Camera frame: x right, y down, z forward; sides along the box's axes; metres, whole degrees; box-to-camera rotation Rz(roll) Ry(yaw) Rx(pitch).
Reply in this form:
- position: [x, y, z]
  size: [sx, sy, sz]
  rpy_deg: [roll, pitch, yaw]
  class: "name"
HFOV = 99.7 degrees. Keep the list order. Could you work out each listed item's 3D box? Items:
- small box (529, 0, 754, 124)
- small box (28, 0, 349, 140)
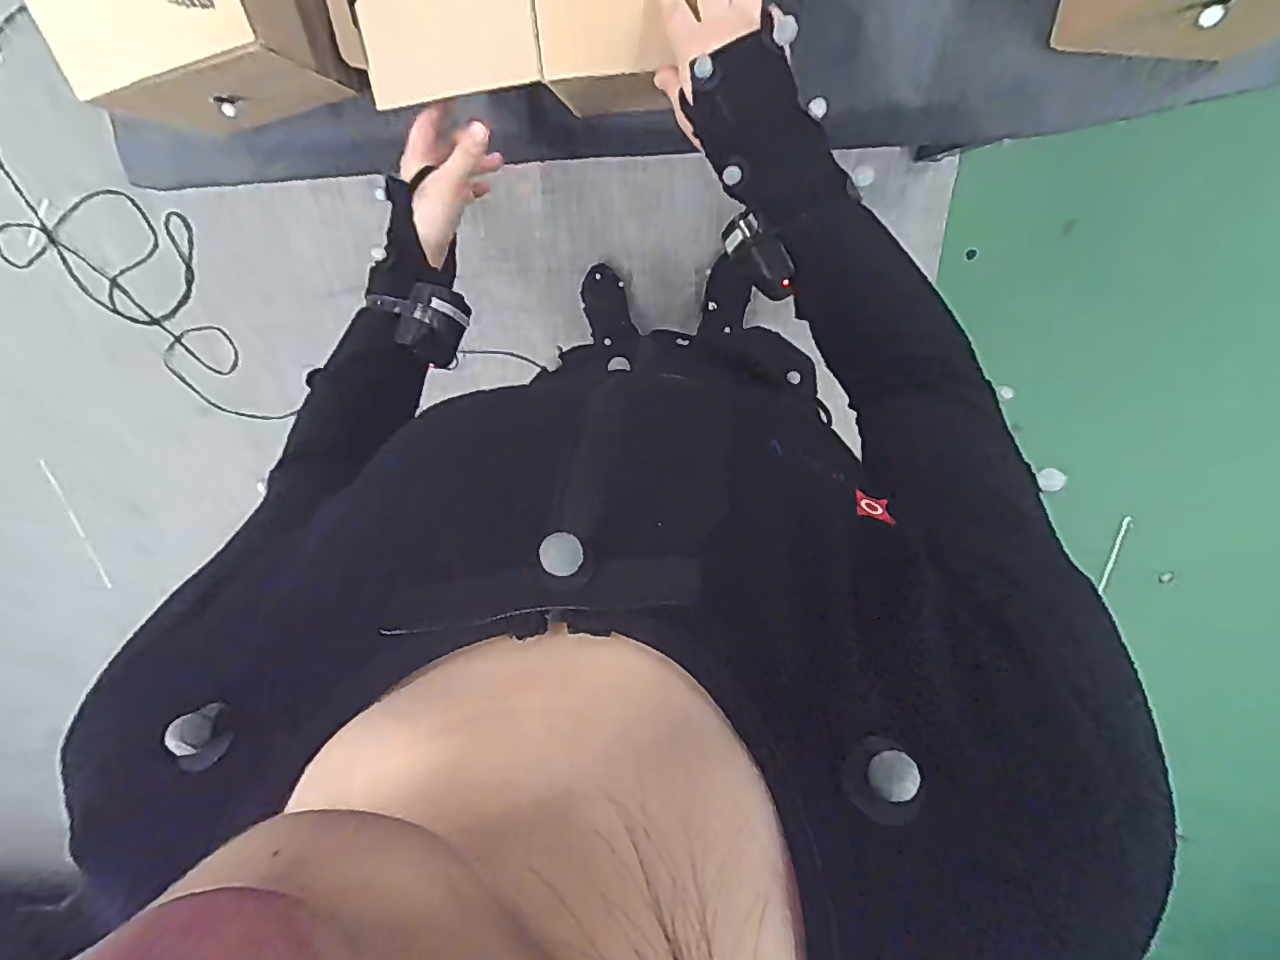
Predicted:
- position: [0.004, -0.429, 0.476]
  size: [0.179, 0.176, 0.168]
  rpy_deg: [-2, 115, 5]
  class: "small box"
- position: [-0.402, -0.434, 0.493]
  size: [0.179, 0.176, 0.168]
  rpy_deg: [-11, 113, 8]
  class: "small box"
